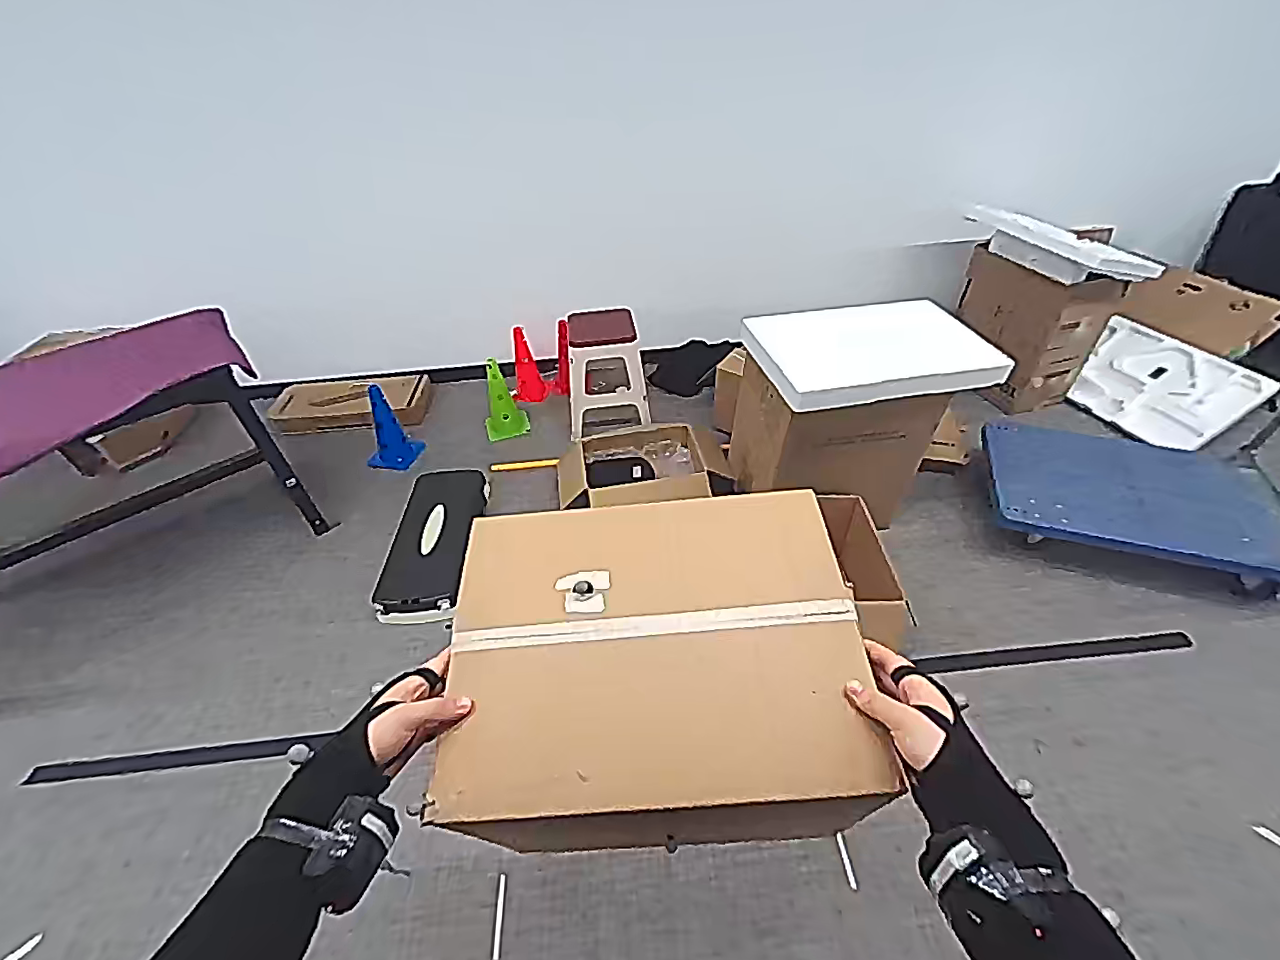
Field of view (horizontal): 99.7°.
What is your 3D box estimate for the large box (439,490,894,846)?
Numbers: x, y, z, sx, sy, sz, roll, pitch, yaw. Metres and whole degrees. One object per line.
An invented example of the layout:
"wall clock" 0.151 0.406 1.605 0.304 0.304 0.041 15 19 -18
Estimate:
"large box" 0.028 0.245 0.671 0.408 0.320 0.320 -6 50 3
